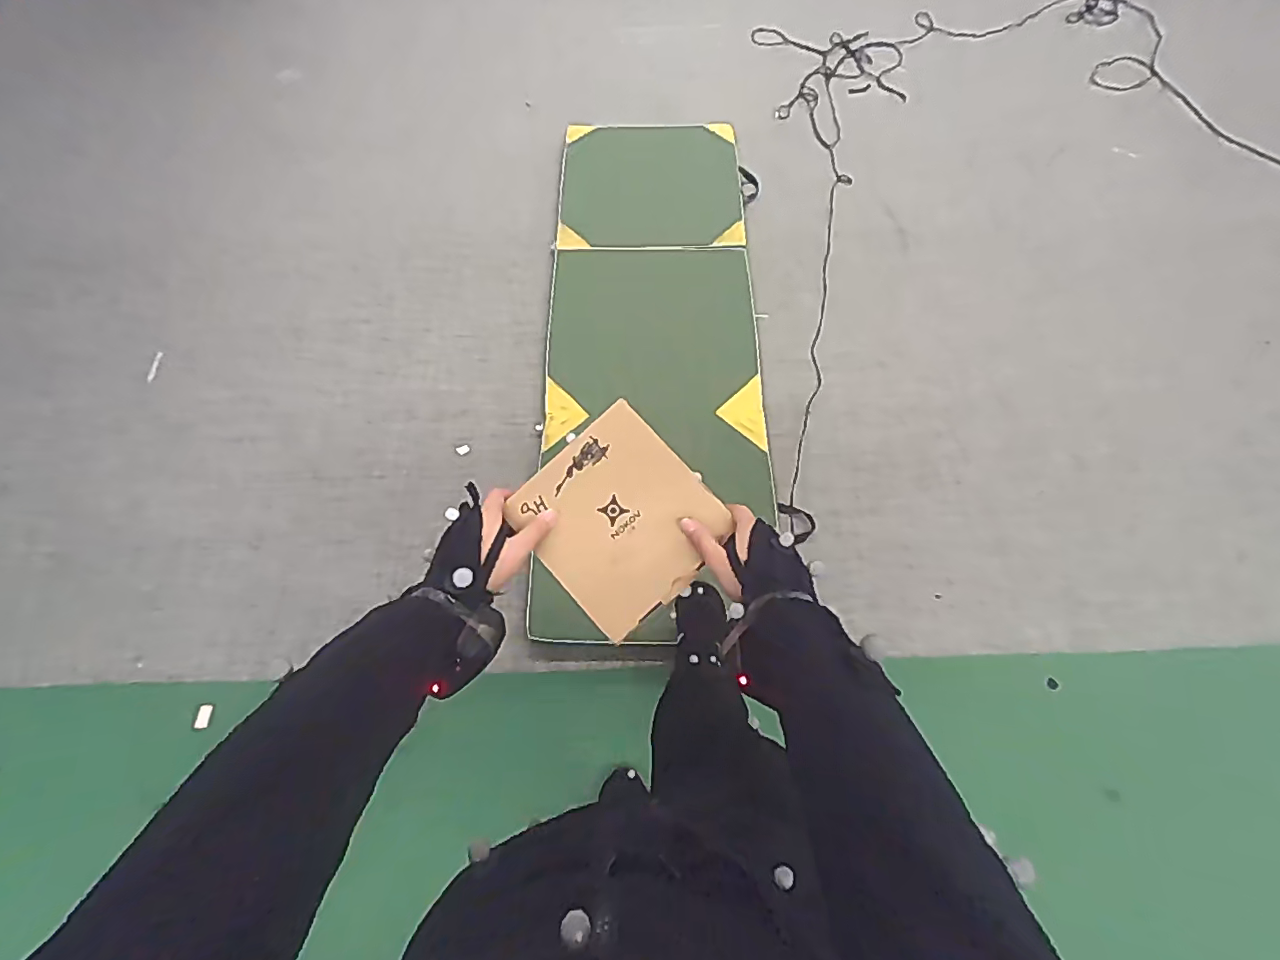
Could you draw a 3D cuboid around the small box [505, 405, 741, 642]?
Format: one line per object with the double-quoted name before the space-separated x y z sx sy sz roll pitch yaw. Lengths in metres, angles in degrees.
"small box" -0.014 0.049 0.604 0.168 0.176 0.179 -42 82 -4
